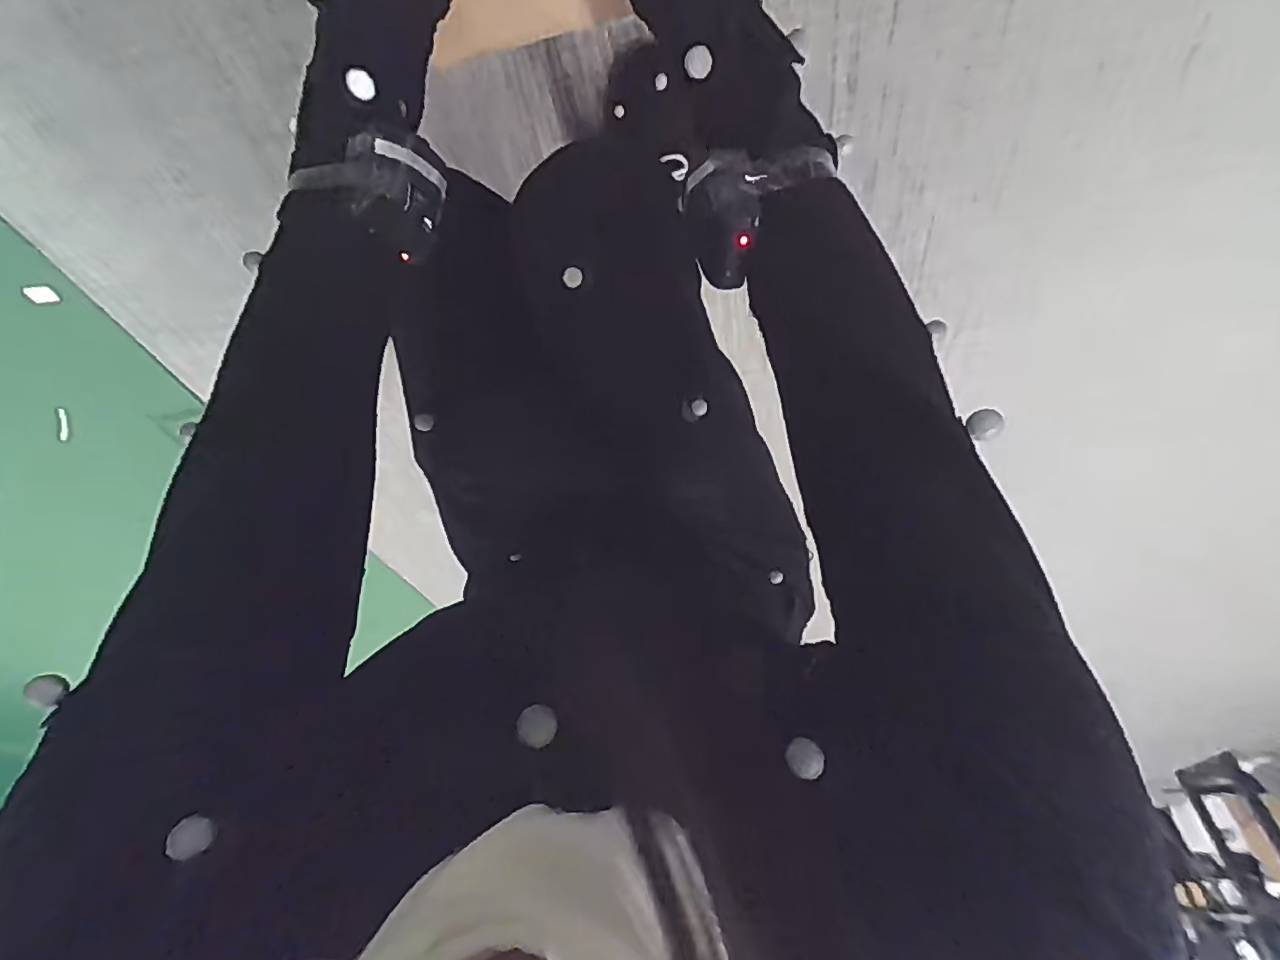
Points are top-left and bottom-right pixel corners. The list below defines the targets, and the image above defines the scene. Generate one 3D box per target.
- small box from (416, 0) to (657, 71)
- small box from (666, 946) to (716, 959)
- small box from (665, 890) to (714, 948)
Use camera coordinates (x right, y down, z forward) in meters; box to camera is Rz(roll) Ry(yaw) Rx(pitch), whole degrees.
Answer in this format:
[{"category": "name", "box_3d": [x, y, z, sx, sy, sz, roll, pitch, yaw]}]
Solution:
[{"category": "small box", "box_3d": [-0.089, -0.449, 0.406, 0.179, 0.176, 0.168, -8, 139, 10]}, {"category": "small box", "box_3d": [0.189, 1.819, 1.989, 0.179, 0.176, 0.168, -6, 142, 10]}, {"category": "small box", "box_3d": [0.192, 1.694, 2.091, 0.179, 0.176, 0.168, -5, 143, 8]}]
